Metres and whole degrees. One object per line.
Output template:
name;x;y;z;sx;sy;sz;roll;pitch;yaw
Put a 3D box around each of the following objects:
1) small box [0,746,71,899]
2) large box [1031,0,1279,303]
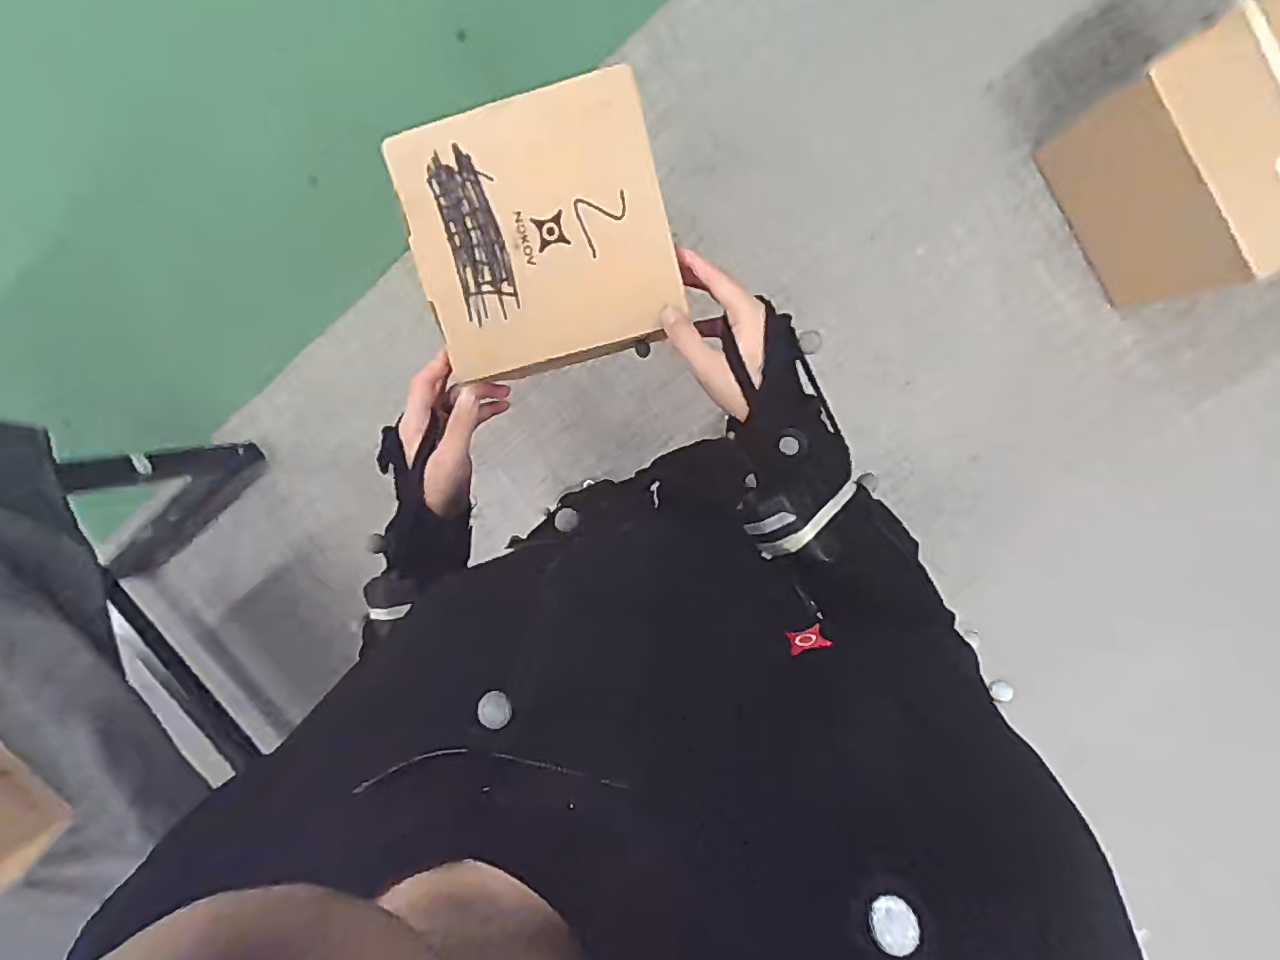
small box;-0.922;0.493;0.706;0.168;0.176;0.179;44;102;-1
large box;1.051;-0.606;1.005;0.320;0.320;0.408;-32;95;10
